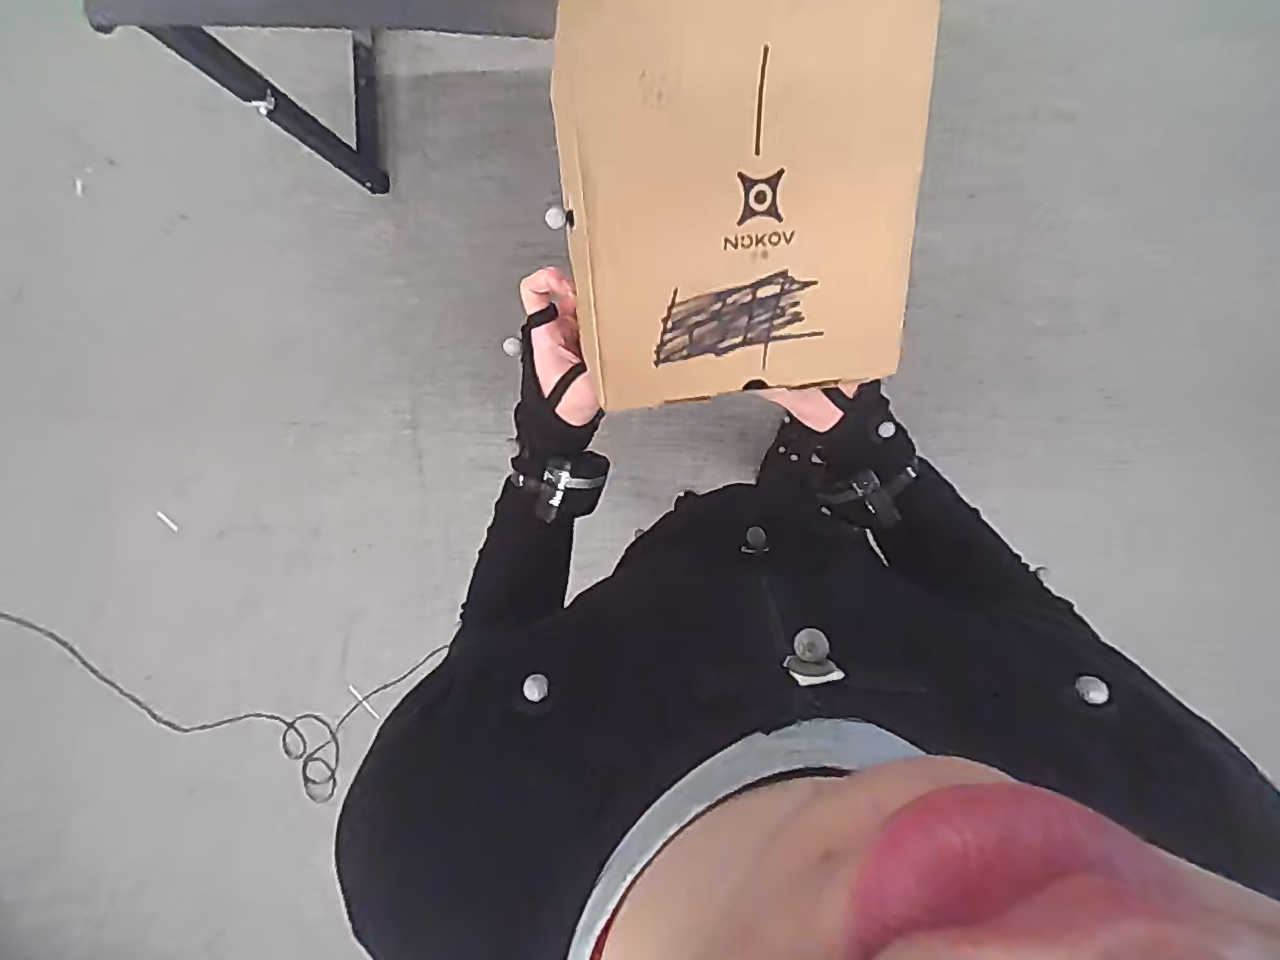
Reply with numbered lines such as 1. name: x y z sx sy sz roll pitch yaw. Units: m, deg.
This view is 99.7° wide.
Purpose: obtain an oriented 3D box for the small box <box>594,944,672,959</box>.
1. small box: -0.015 0.983 0.961 0.168 0.176 0.179 1 97 8

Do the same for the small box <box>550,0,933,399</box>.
1. small box: 0.039 -0.165 0.330 0.168 0.176 0.179 -9 116 -7
